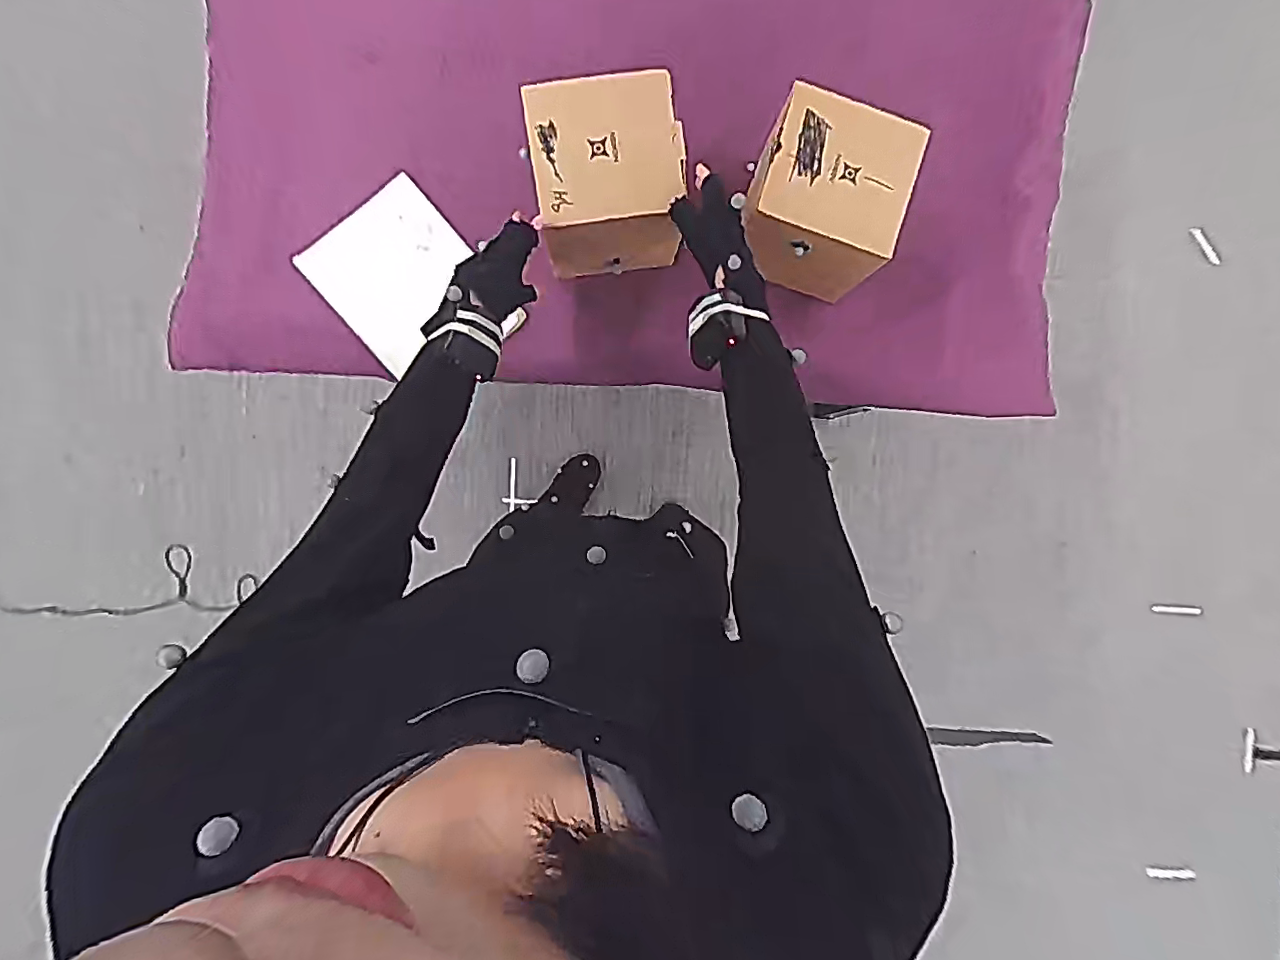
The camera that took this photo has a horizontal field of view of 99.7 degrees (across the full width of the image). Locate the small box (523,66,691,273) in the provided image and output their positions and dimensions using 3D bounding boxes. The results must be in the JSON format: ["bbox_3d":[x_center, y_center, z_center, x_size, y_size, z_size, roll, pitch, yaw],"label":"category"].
[{"bbox_3d":[-0.044,-0.386,0.698,0.179,0.176,0.168,-9,90,-4],"label":"small box"}]

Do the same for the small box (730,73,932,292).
[{"bbox_3d":[0.235,-0.371,0.712,0.179,0.176,0.168,18,89,-4],"label":"small box"}]
